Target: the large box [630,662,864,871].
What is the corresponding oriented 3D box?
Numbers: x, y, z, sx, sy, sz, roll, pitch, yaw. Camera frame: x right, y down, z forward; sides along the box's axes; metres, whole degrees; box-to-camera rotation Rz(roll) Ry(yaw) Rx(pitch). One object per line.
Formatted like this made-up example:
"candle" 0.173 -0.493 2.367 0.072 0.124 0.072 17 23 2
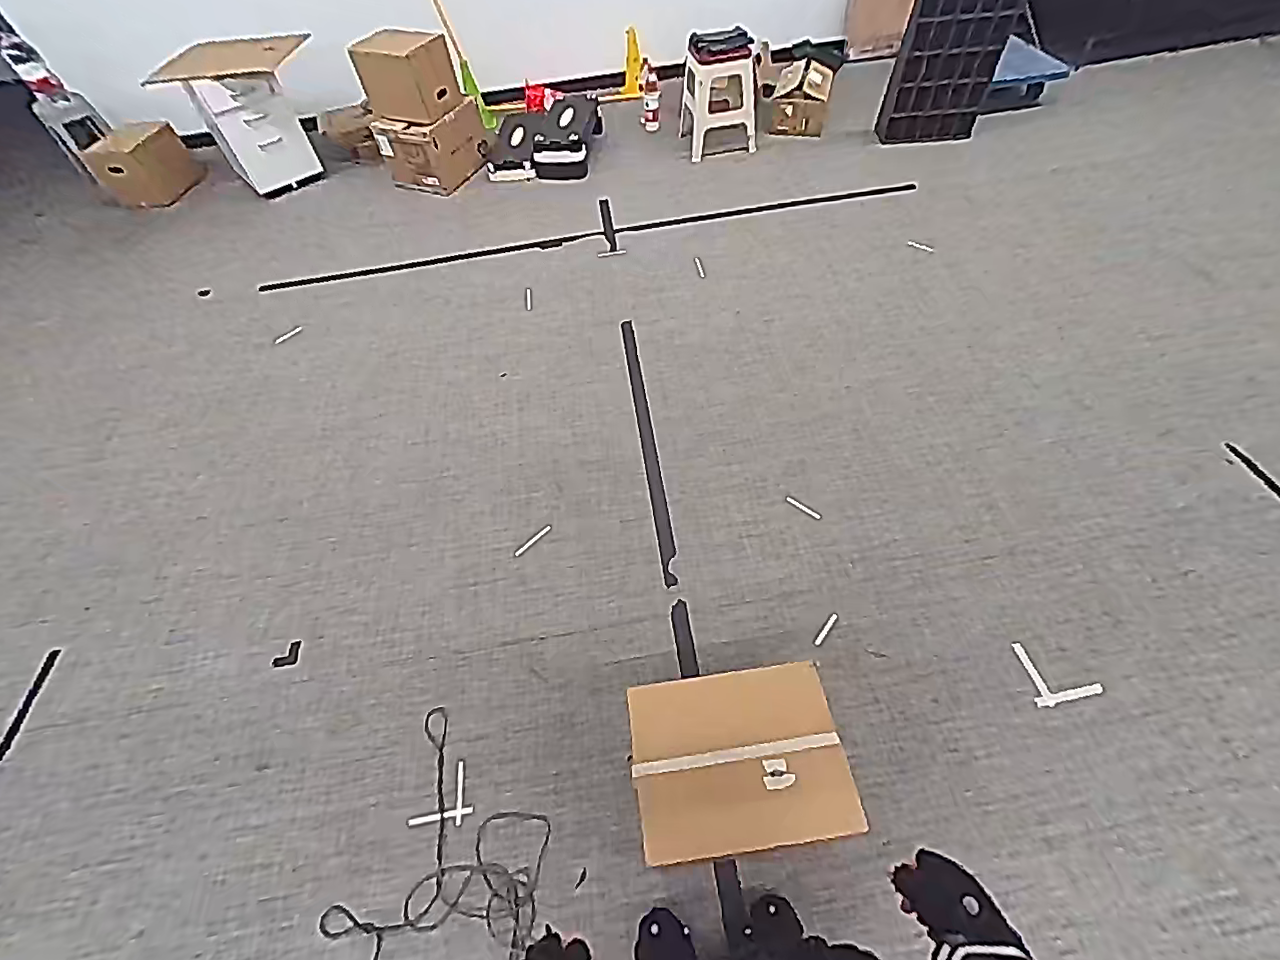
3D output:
"large box" 0.204 0.633 1.185 0.408 0.320 0.320 -8 53 -1
